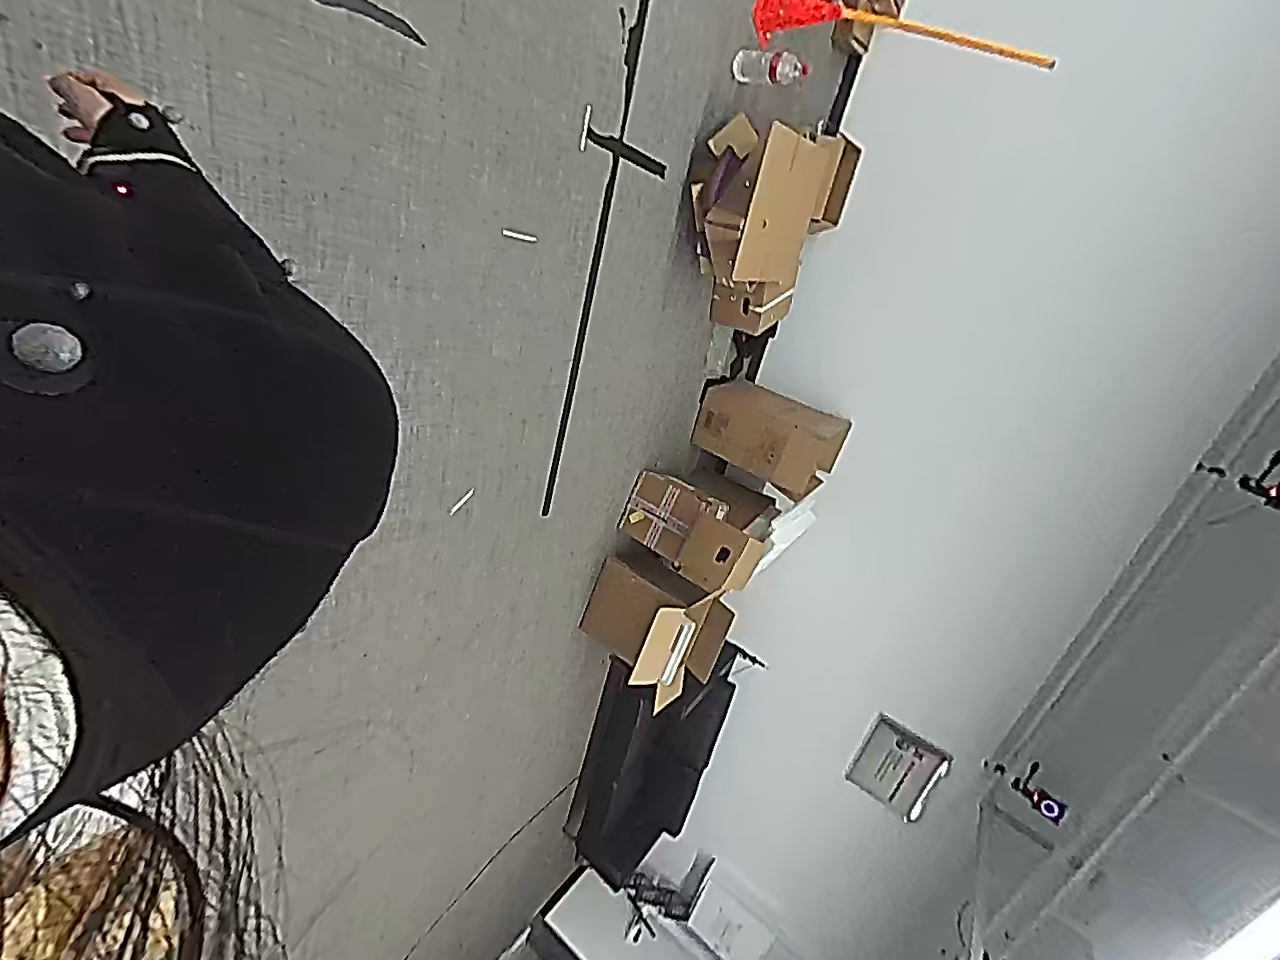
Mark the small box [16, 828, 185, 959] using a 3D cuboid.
[{"bbox_3d":[-0.898,0.729,0.903,0.168,0.176,0.179,-12,125,-56],"label":"small box"}]
